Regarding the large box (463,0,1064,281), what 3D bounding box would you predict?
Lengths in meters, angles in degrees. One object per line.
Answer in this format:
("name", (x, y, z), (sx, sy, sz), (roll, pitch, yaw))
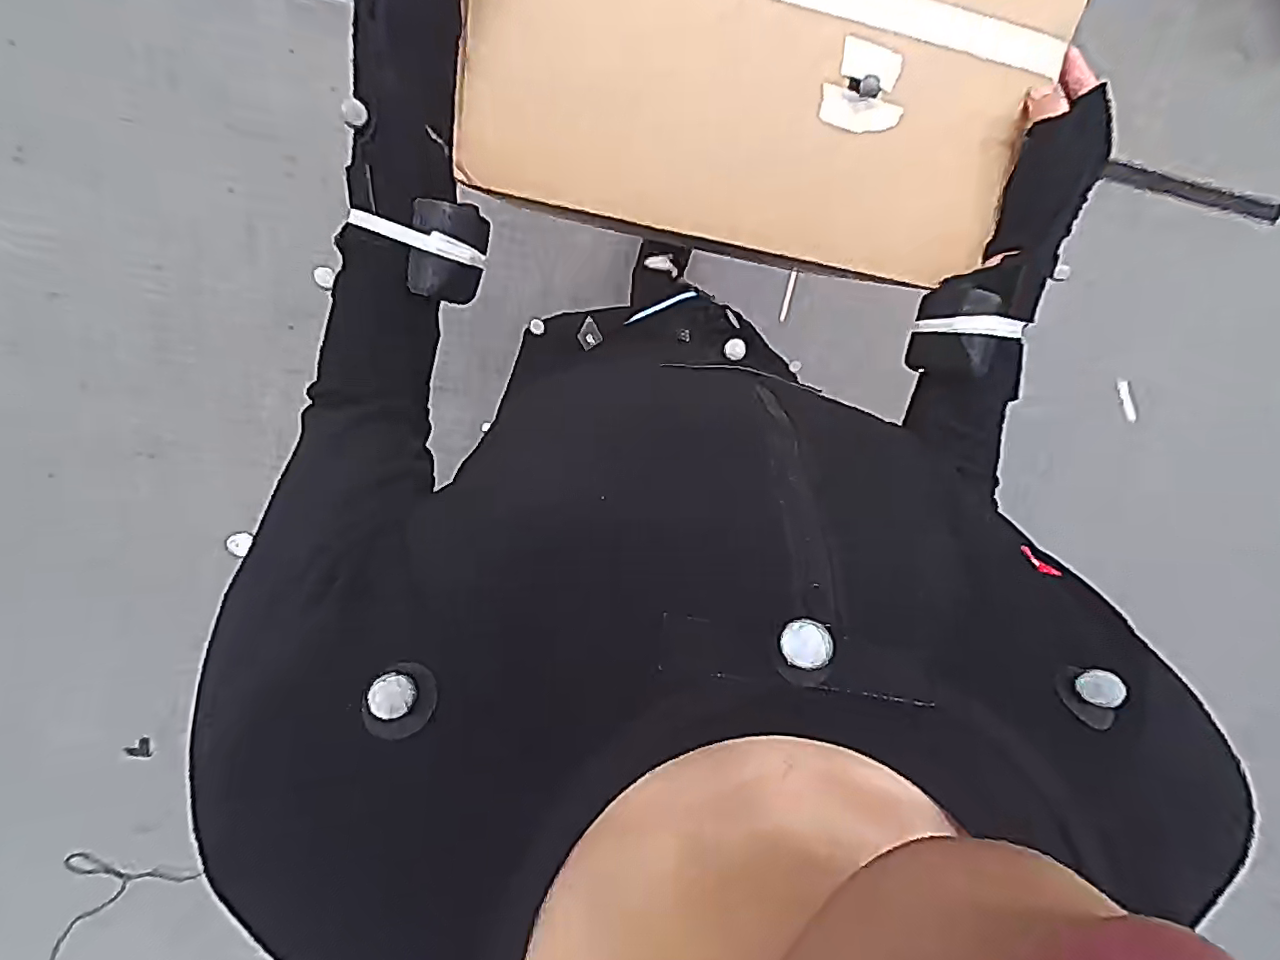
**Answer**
("large box", (0.076, -0.385, 0.492), (0.408, 0.320, 0.320), (8, 114, -10))
